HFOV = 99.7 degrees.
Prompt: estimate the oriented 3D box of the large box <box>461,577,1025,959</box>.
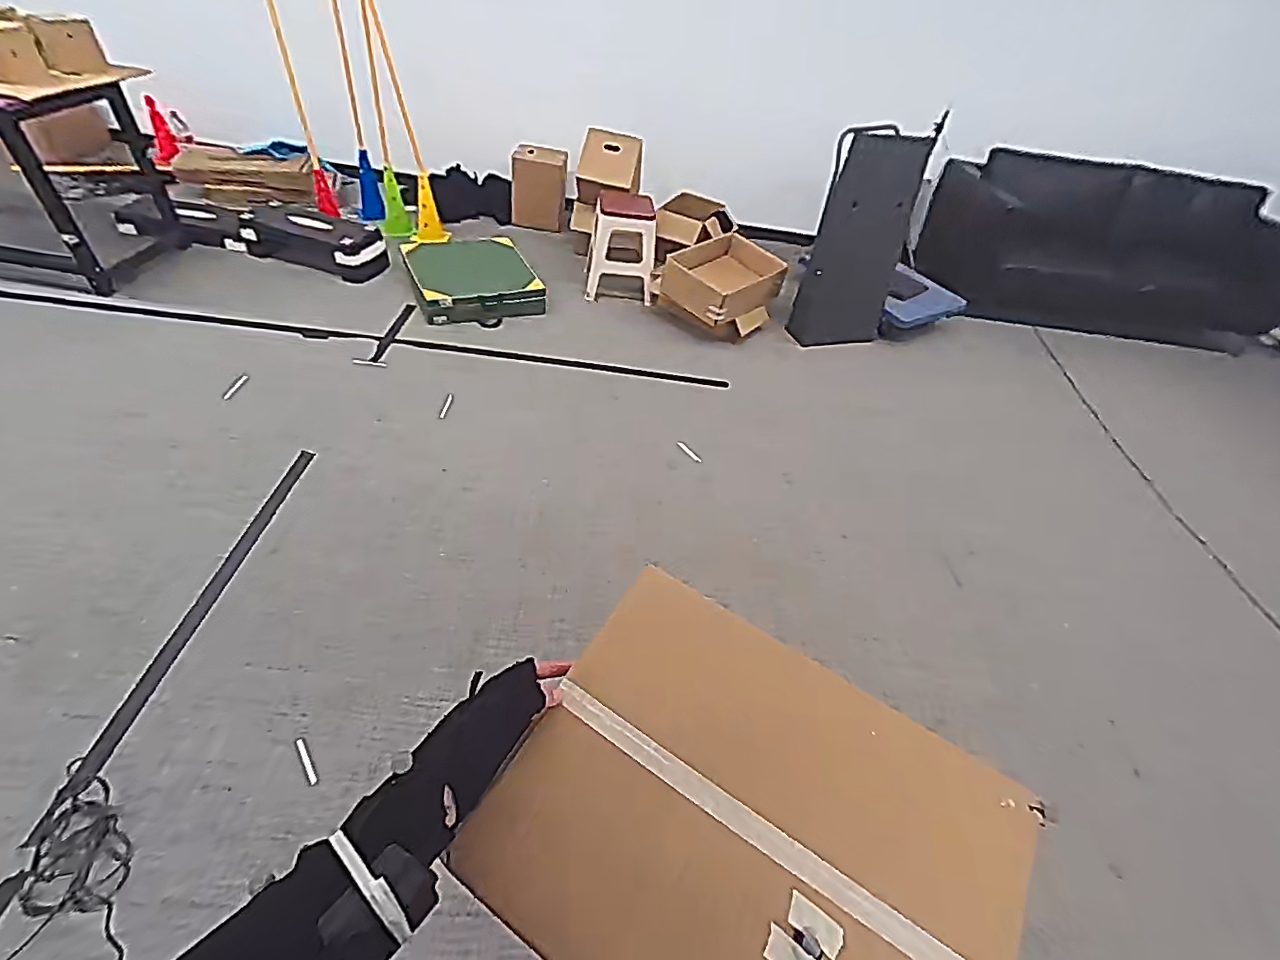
[{"bbox_3d":[0.089,0.381,0.580,0.408,0.320,0.320,30,58,17],"label":"large box"}]
